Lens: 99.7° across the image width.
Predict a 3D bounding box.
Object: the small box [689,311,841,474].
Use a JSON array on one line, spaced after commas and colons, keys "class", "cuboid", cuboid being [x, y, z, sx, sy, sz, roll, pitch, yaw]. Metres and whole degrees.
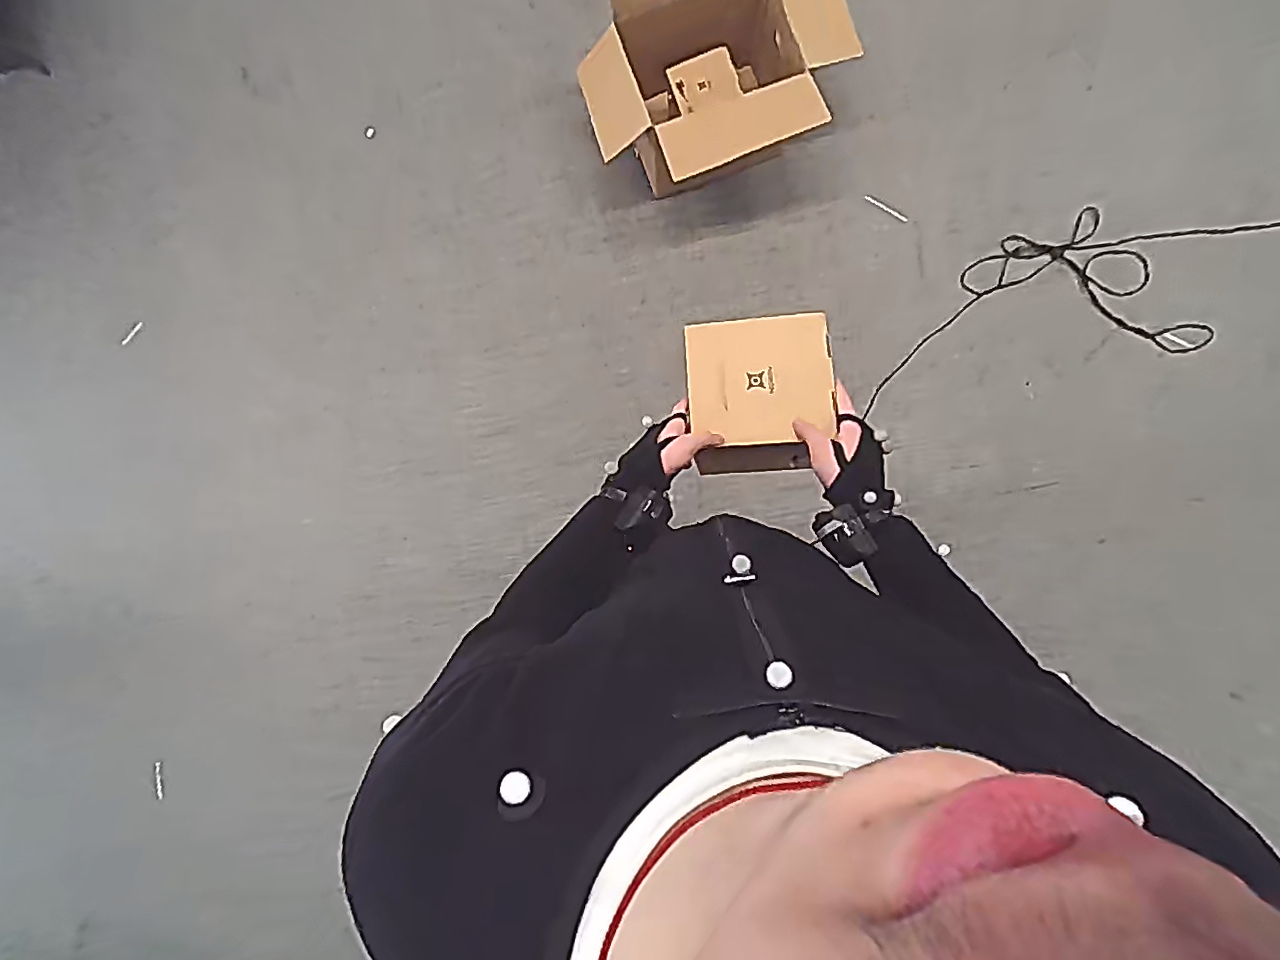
[{"class": "small box", "cuboid": [0.159, -0.107, 0.727, 0.179, 0.176, 0.168, -2, 76, 9]}]
